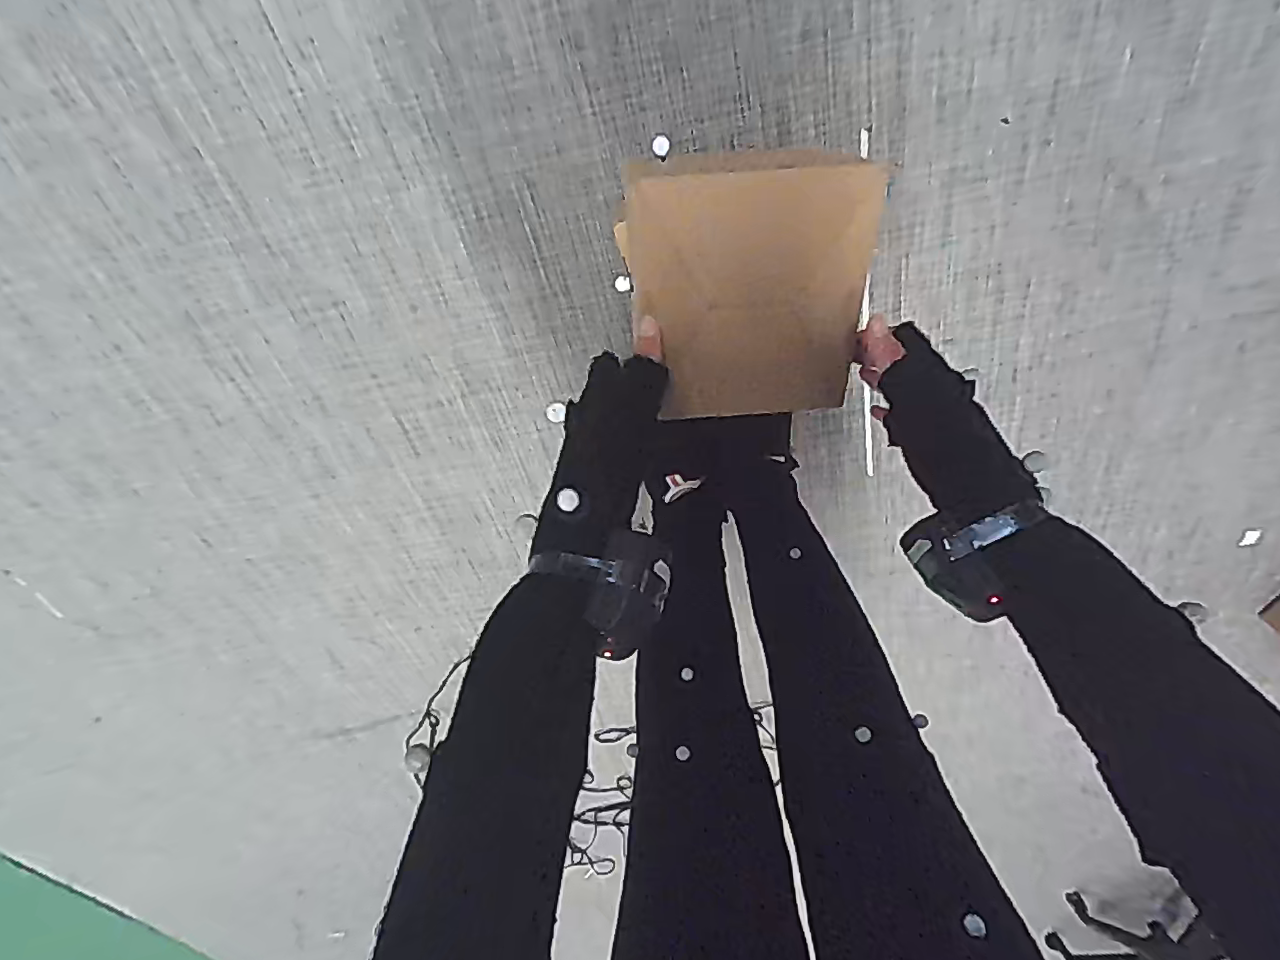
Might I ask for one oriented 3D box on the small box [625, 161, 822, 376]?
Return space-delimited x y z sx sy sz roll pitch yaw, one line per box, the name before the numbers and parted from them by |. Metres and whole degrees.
small box | 0.087 -0.245 0.613 0.179 0.176 0.168 -15 122 9
